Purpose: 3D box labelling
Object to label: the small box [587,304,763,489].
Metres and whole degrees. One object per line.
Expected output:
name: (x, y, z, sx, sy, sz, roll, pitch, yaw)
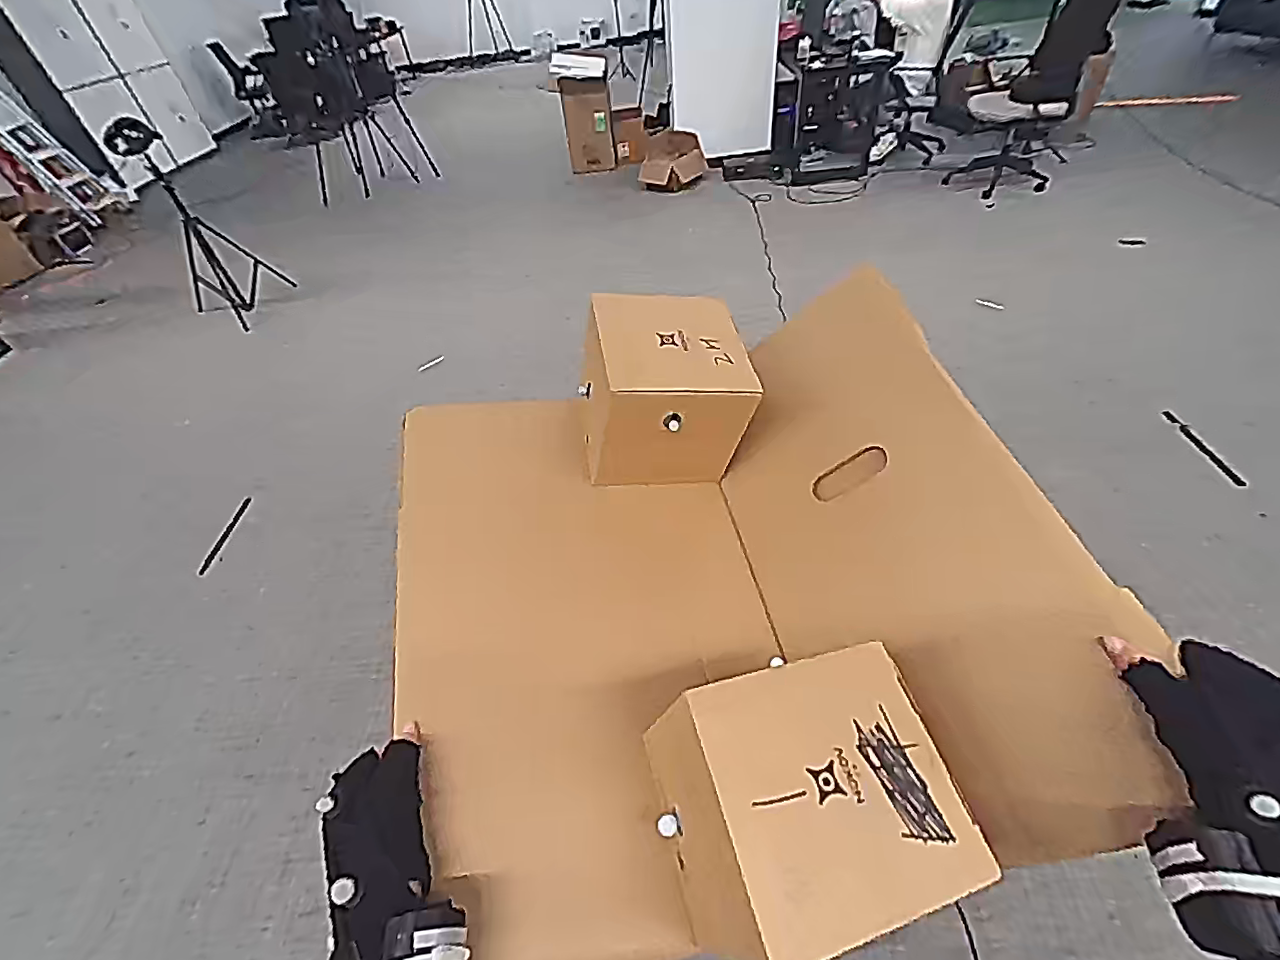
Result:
small box: (0.028, -0.099, 0.684, 0.179, 0.176, 0.168, -1, 54, -14)
